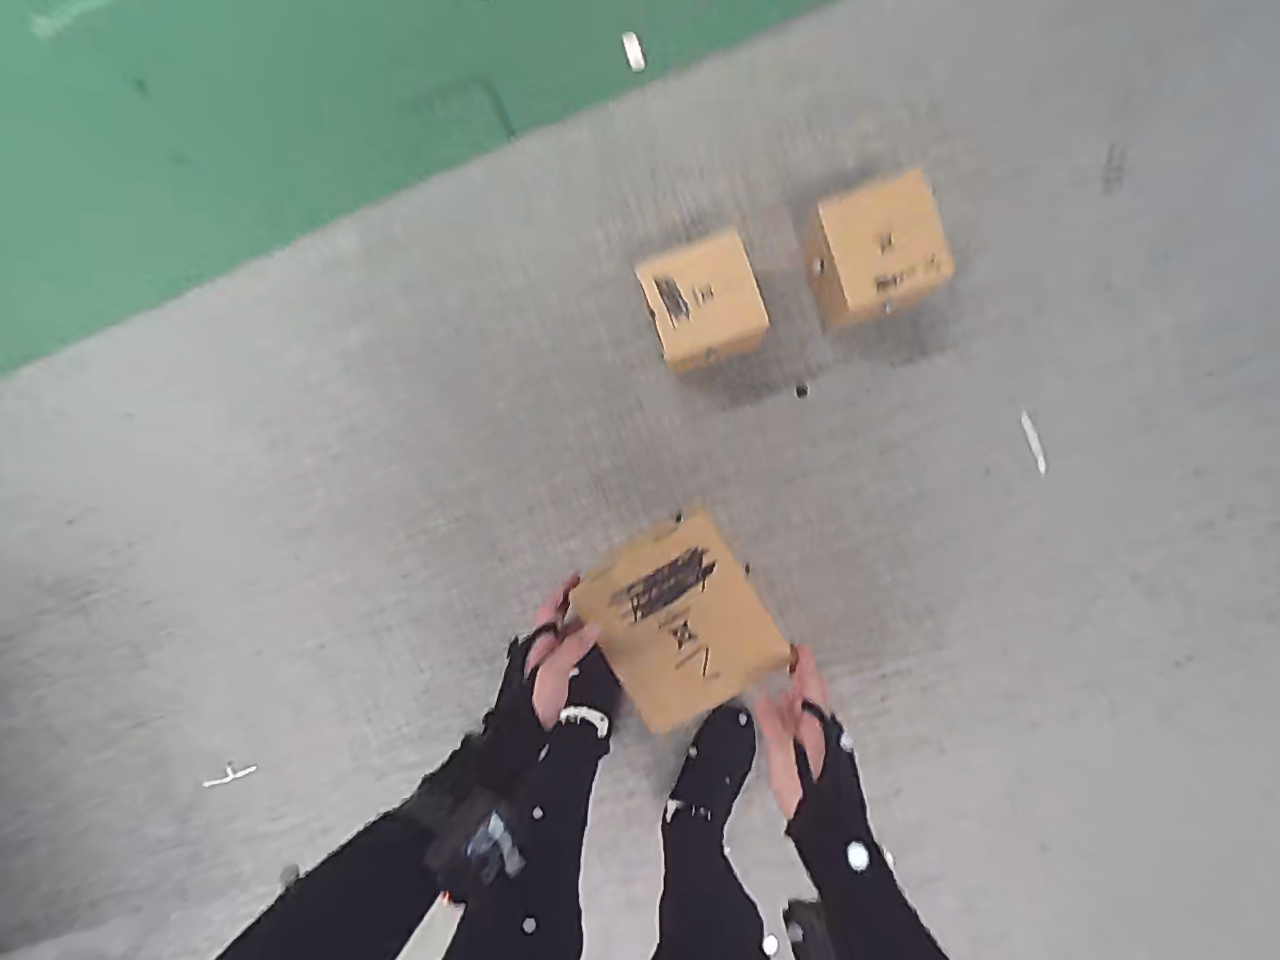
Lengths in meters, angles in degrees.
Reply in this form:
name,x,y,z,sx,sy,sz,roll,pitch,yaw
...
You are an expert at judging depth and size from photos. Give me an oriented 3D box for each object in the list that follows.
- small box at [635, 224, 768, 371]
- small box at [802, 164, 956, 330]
name,x,y,z,sx,sy,sz,roll,pitch,yaw
small box,0.107,-0.303,0.938,0.179,0.176,0.168,-19,90,6
small box,0.385,-0.376,0.905,0.168,0.176,0.179,-17,89,7
